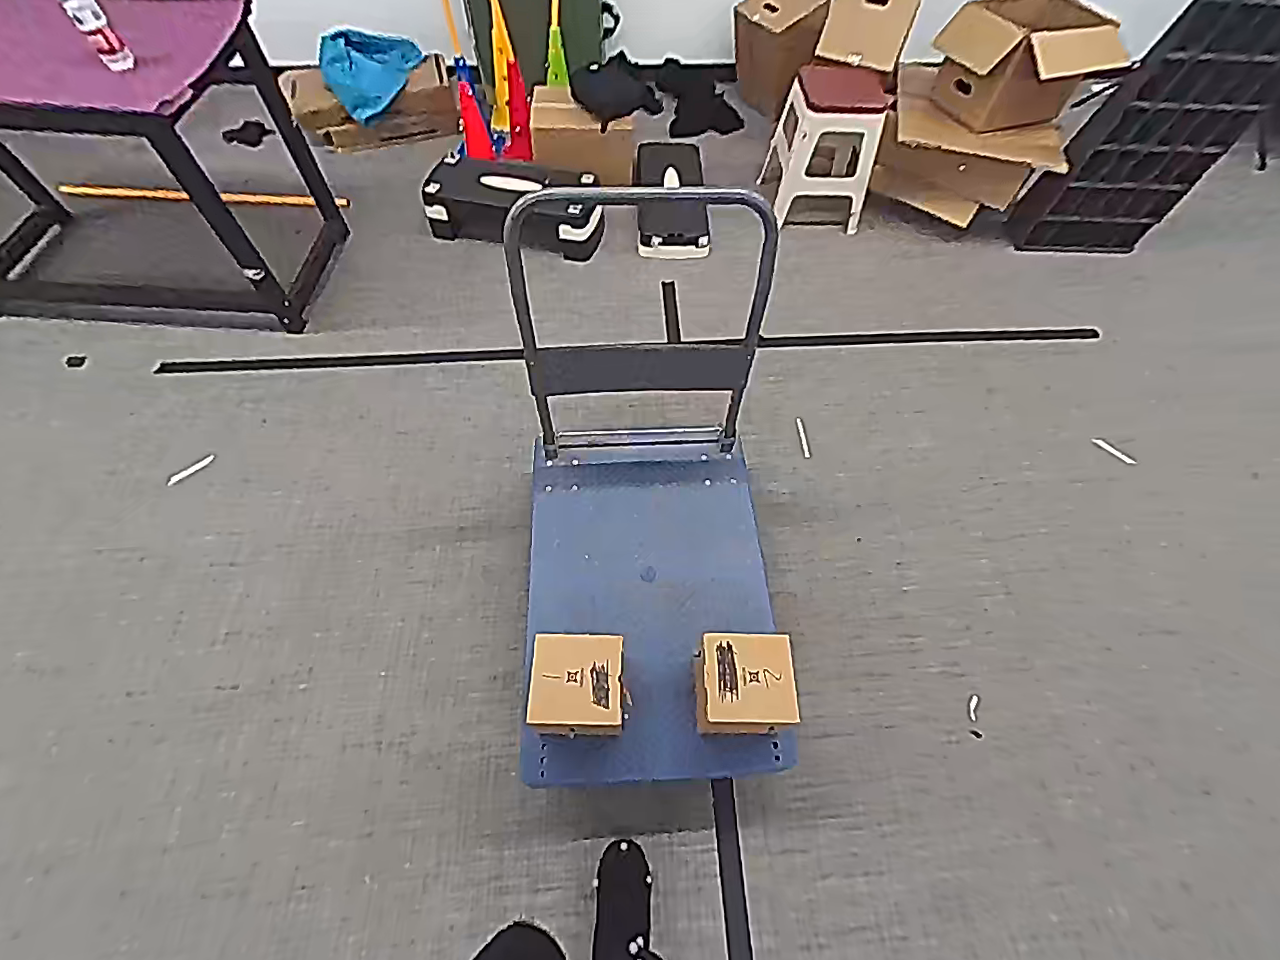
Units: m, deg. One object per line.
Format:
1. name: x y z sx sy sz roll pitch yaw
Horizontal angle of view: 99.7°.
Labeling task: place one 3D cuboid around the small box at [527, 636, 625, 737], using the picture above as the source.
1. small box: -0.121 0.421 1.095 0.179 0.176 0.168 2 59 0
